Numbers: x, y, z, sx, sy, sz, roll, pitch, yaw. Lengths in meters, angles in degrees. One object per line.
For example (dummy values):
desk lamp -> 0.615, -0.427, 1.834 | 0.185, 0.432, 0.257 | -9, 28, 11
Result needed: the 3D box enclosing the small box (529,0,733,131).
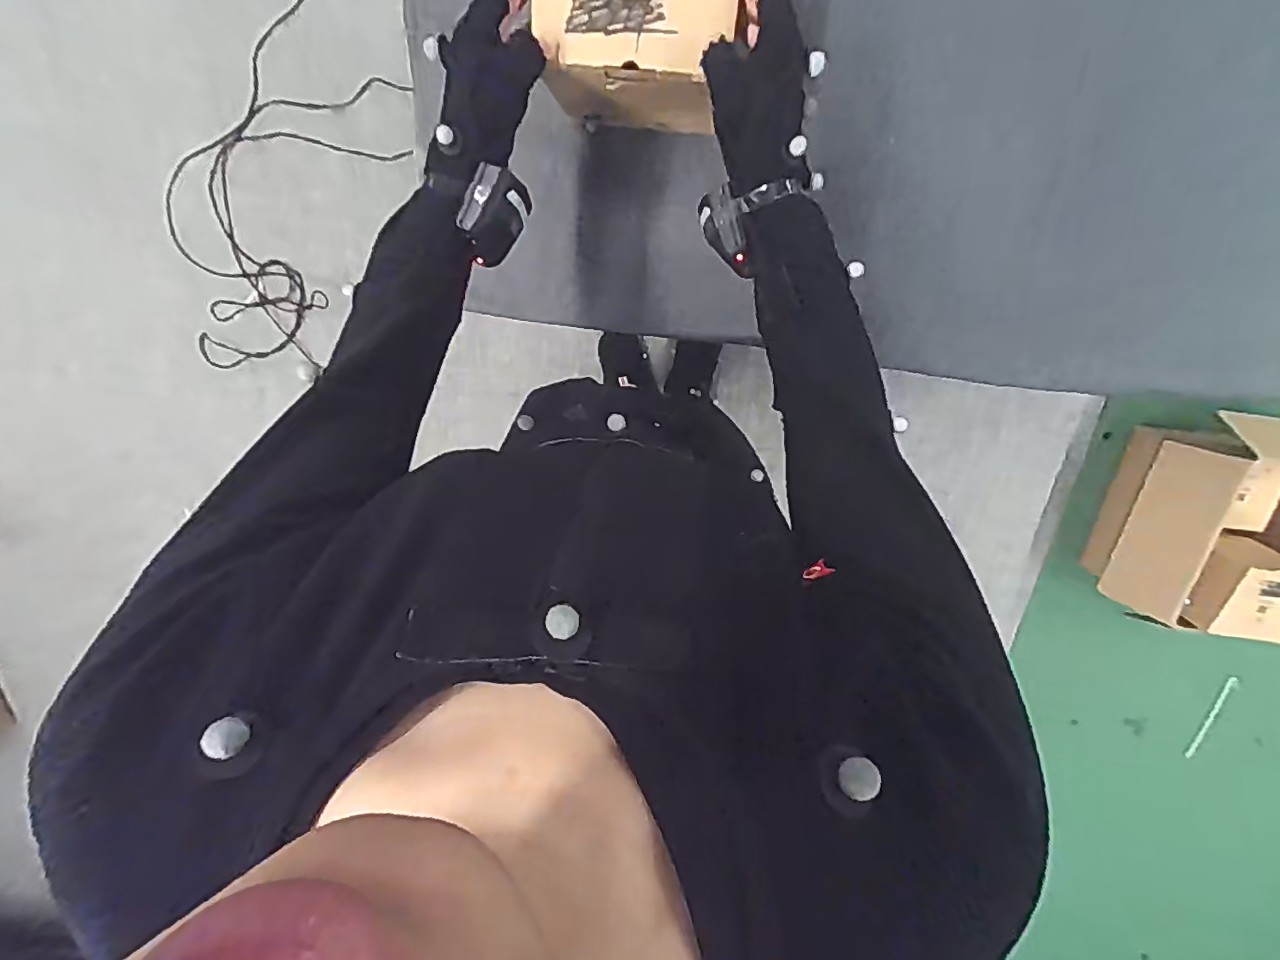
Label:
small box -> 0.002, -0.441, 0.491 | 0.168, 0.176, 0.179 | 6, 109, 1
